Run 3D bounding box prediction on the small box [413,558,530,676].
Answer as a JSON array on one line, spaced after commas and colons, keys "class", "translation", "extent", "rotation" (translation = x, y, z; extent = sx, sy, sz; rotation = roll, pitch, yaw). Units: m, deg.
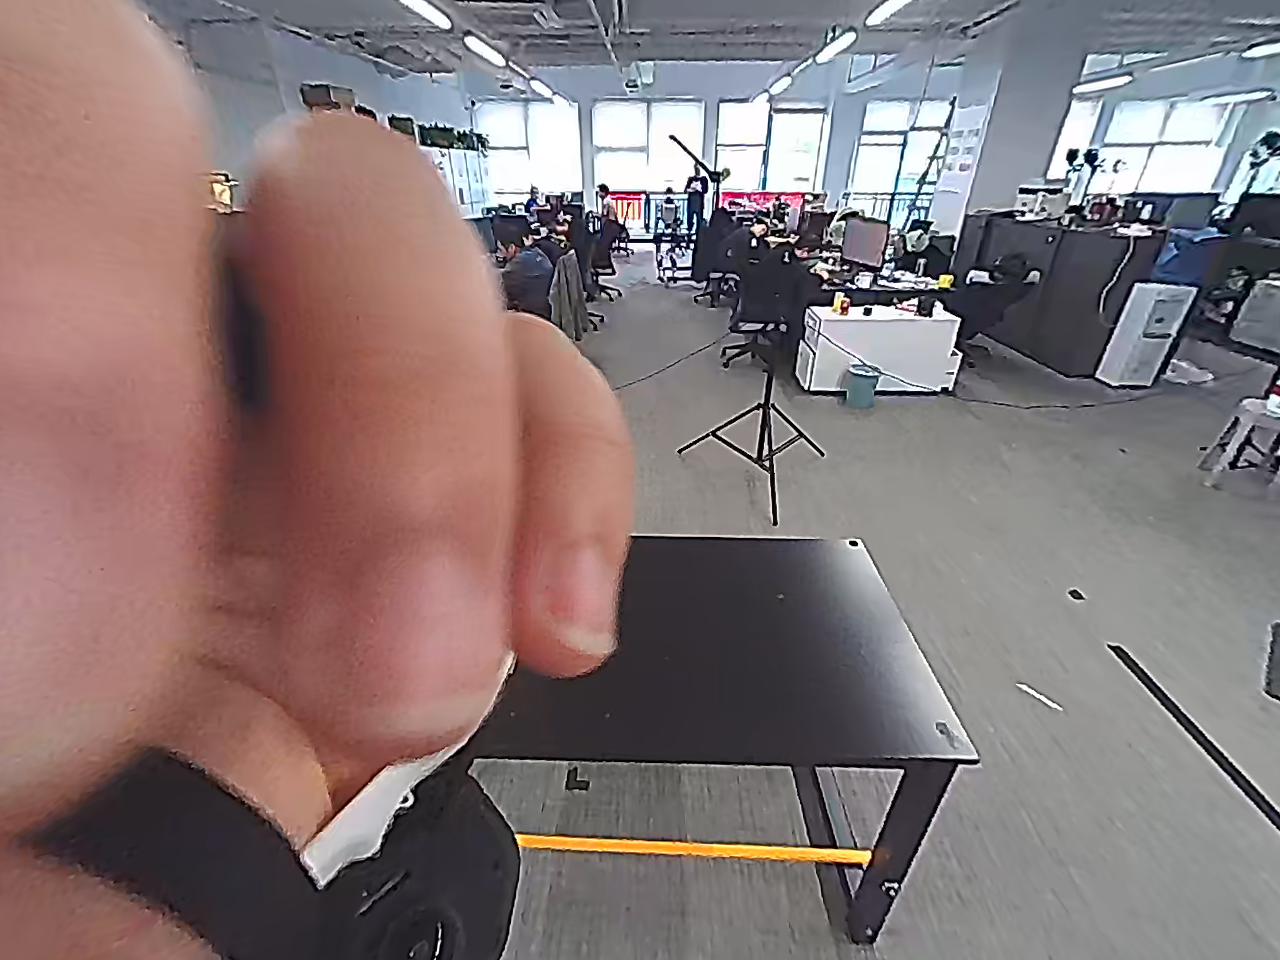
[{"class": "small box", "translation": [-0.317, 0.257, 1.060], "extent": [0.168, 0.176, 0.179], "rotation": [0, 30, 2]}]
